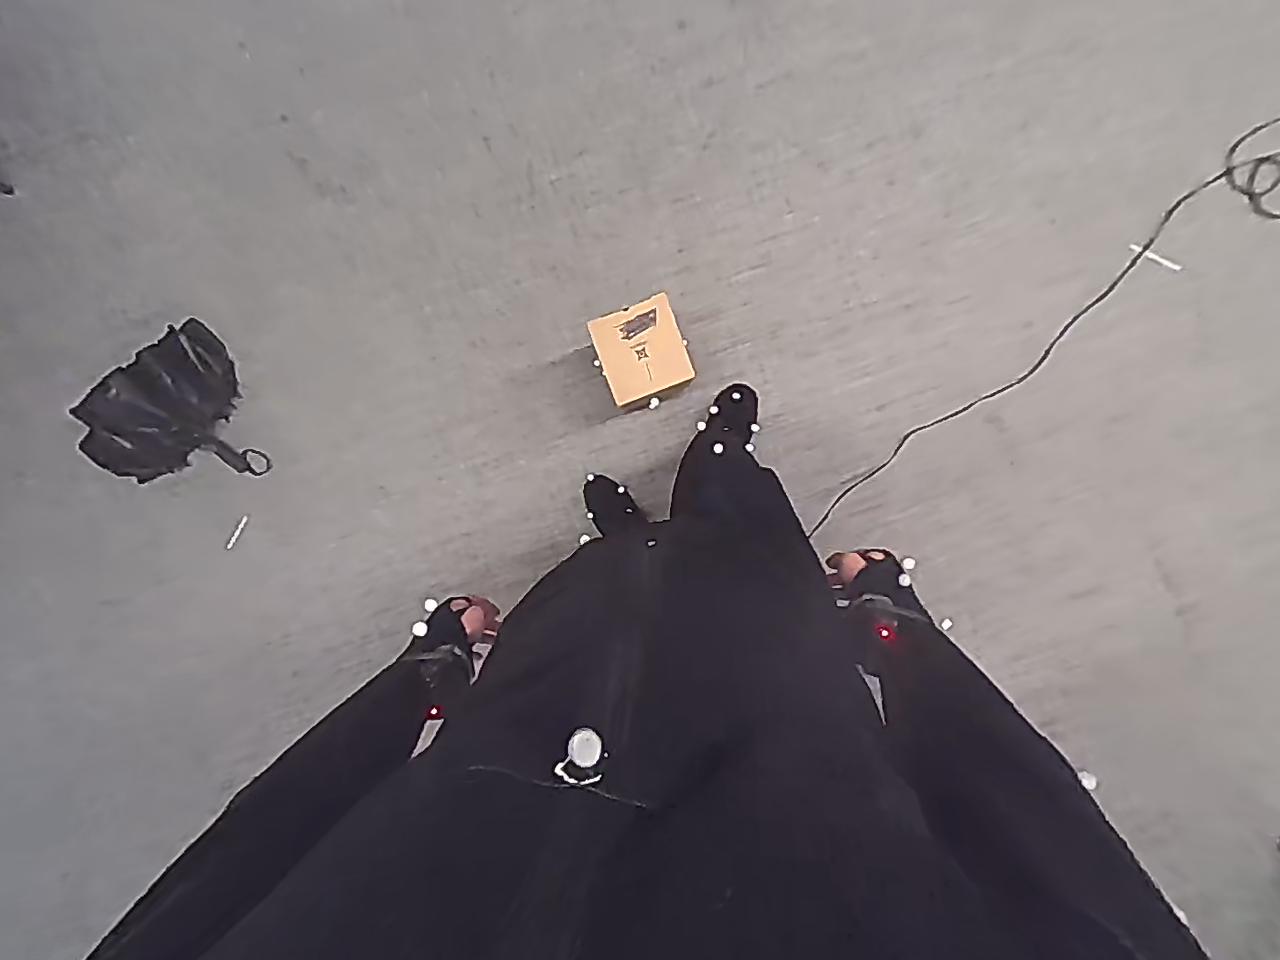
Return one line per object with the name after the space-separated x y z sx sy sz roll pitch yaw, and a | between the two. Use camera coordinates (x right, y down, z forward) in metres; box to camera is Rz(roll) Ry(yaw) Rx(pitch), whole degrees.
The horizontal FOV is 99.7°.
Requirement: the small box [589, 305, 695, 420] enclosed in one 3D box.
0.004 -0.235 1.129 0.168 0.176 0.179 -21 93 3 | small box
